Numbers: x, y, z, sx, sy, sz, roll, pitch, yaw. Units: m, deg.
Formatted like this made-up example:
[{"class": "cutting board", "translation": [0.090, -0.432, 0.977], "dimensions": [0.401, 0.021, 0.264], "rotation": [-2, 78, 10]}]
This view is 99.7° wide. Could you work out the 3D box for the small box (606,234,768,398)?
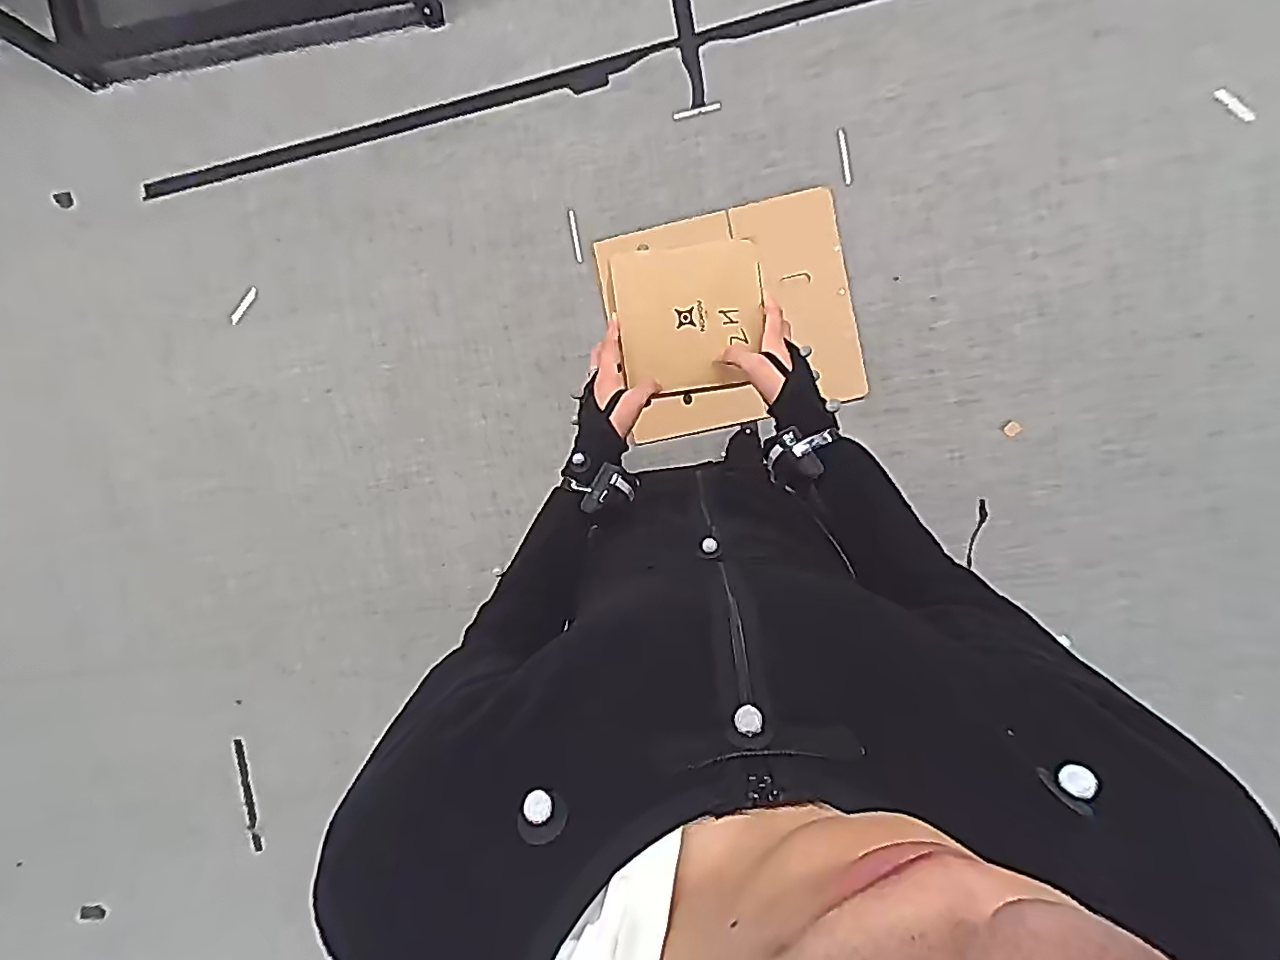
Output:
[{"class": "small box", "translation": [0.052, -0.201, 0.706], "dimensions": [0.179, 0.176, 0.168], "rotation": [-8, 97, -4]}]
